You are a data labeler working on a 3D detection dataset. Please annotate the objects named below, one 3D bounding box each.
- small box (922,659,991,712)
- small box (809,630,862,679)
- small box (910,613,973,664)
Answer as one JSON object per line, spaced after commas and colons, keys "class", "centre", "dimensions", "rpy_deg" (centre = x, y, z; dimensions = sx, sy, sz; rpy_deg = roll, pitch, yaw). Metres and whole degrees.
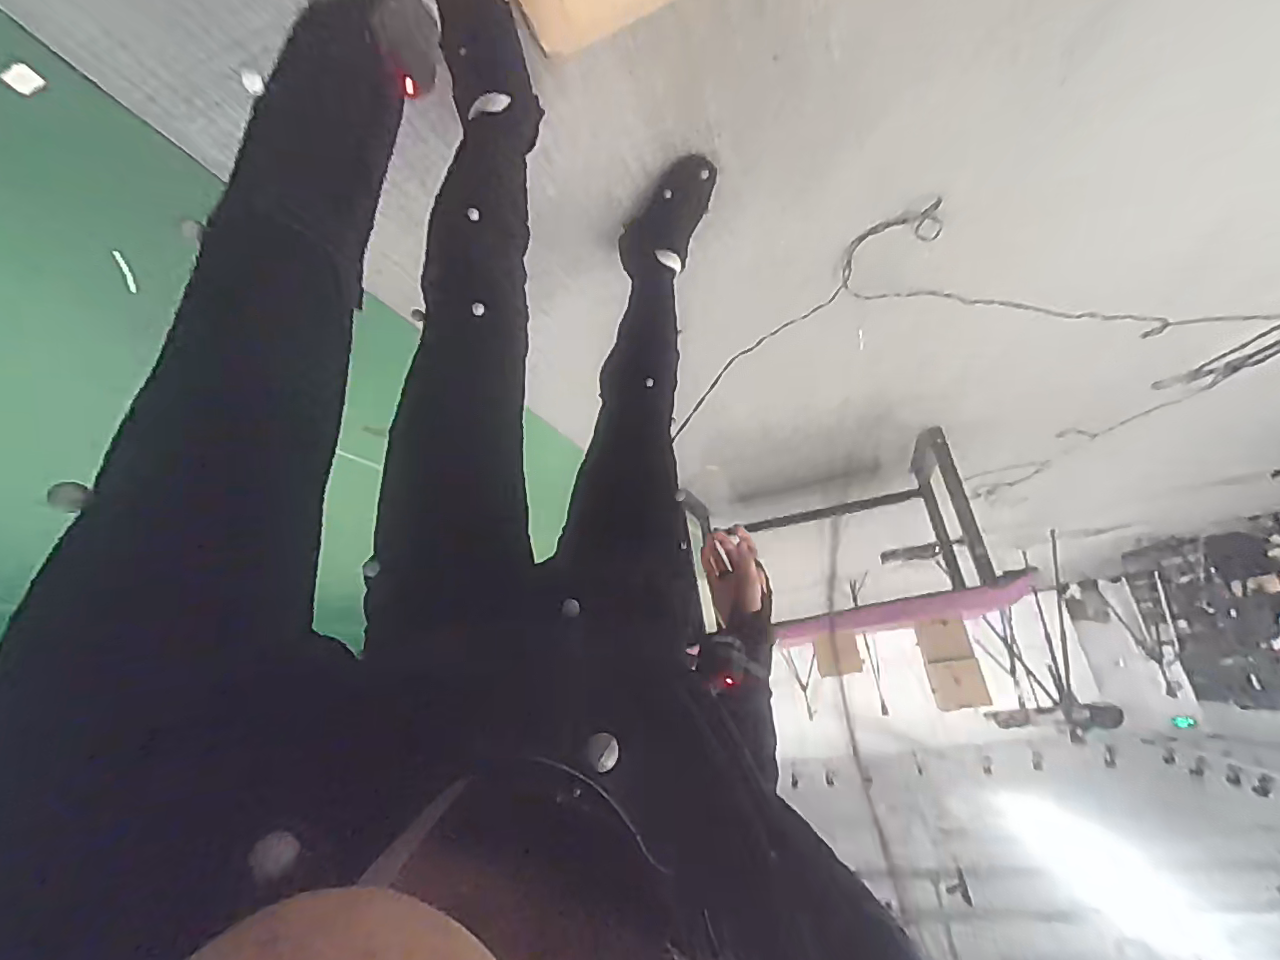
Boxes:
{"class": "small box", "centre": [1.168, 0.759, 2.009], "dimensions": [0.168, 0.176, 0.179], "rpy_deg": [-14, 157, 16]}
{"class": "small box", "centre": [0.790, 0.703, 2.188], "dimensions": [0.168, 0.176, 0.179], "rpy_deg": [-15, 159, 18]}
{"class": "small box", "centre": [1.152, 0.611, 2.080], "dimensions": [0.168, 0.176, 0.179], "rpy_deg": [-15, 156, 18]}
